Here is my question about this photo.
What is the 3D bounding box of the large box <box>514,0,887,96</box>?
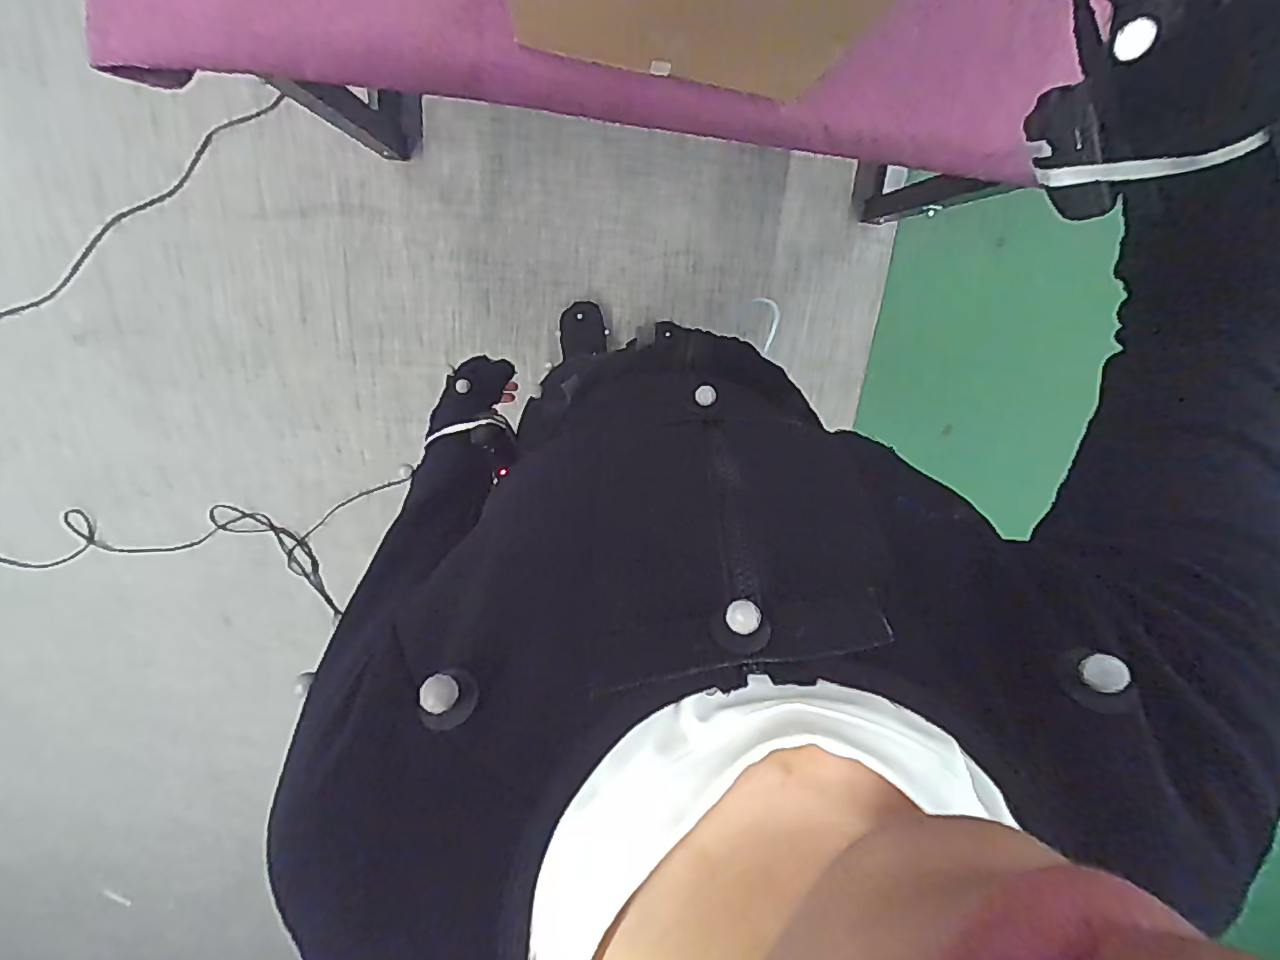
[{"bbox_3d":[0.062,-0.593,0.403,0.320,0.320,0.408,6,108,-7],"label":"large box"}]
